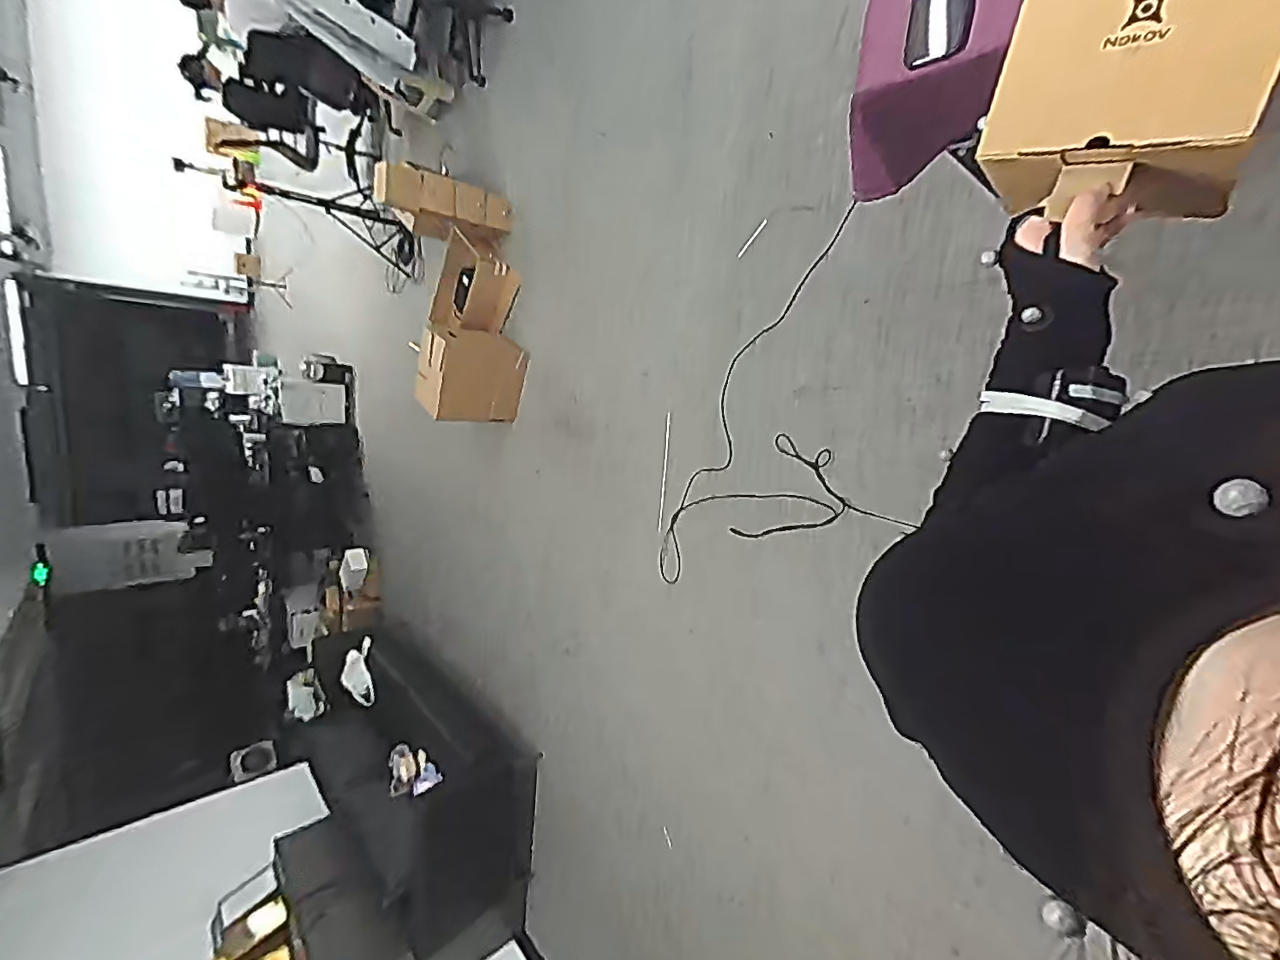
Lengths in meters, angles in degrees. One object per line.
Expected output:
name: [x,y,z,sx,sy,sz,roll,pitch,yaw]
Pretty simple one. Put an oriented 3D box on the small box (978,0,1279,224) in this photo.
small box: [0.412,-0.331,0.448,0.168,0.176,0.179,23,109,39]
